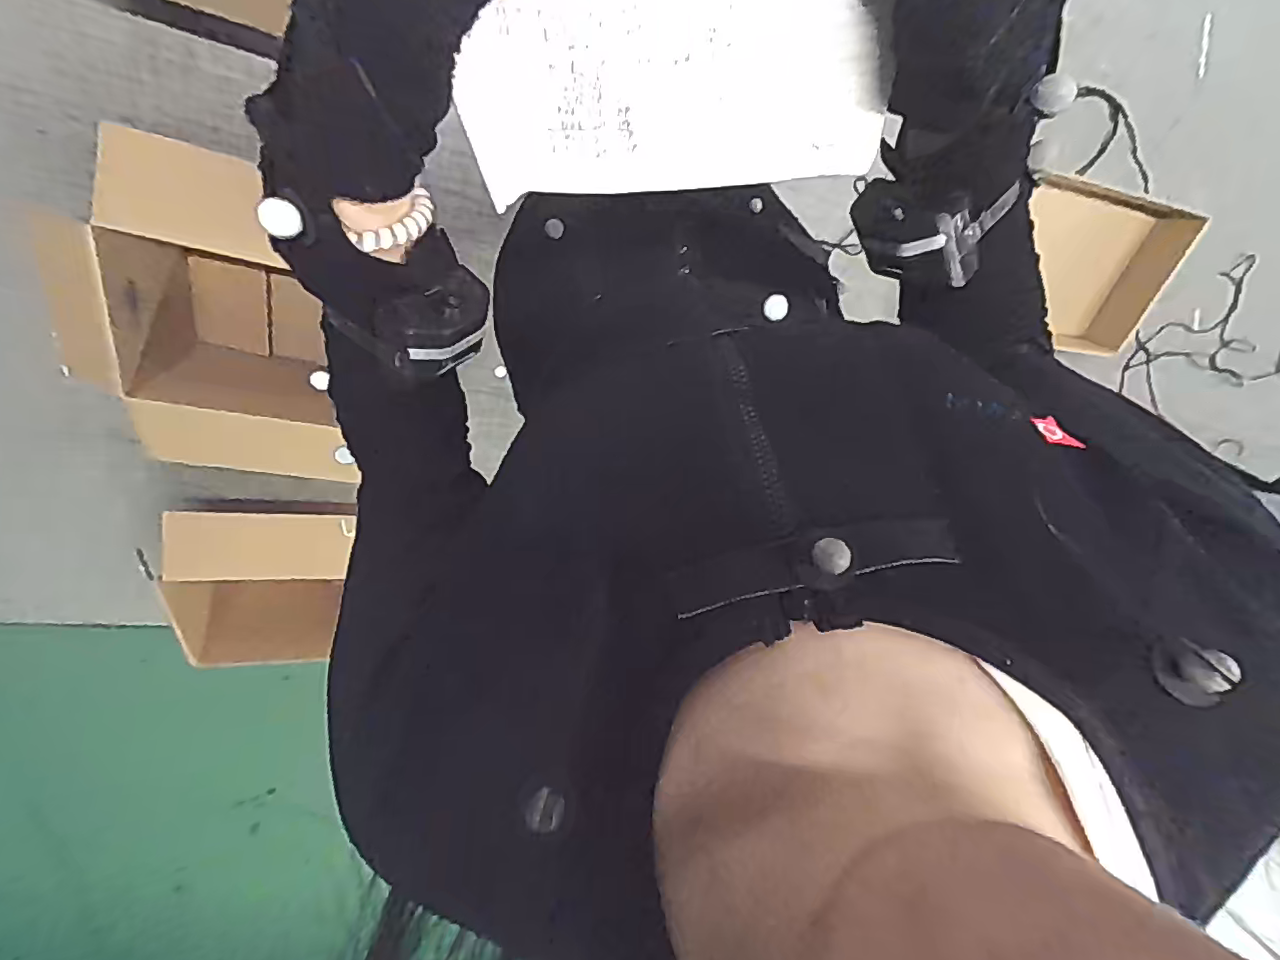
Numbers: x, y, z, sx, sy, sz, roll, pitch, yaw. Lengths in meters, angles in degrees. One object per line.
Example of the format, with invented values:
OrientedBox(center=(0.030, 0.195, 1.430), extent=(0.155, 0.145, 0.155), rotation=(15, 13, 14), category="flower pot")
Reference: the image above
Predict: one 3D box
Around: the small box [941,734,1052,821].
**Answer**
OrientedBox(center=(1.046, 0.875, 1.600), extent=(0.179, 0.176, 0.168), rotation=(10, 120, -22), category="small box")

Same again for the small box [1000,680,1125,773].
OrientedBox(center=(1.140, 0.664, 1.476), extent=(0.168, 0.176, 0.179), rotation=(4, 123, -18), category="small box")
